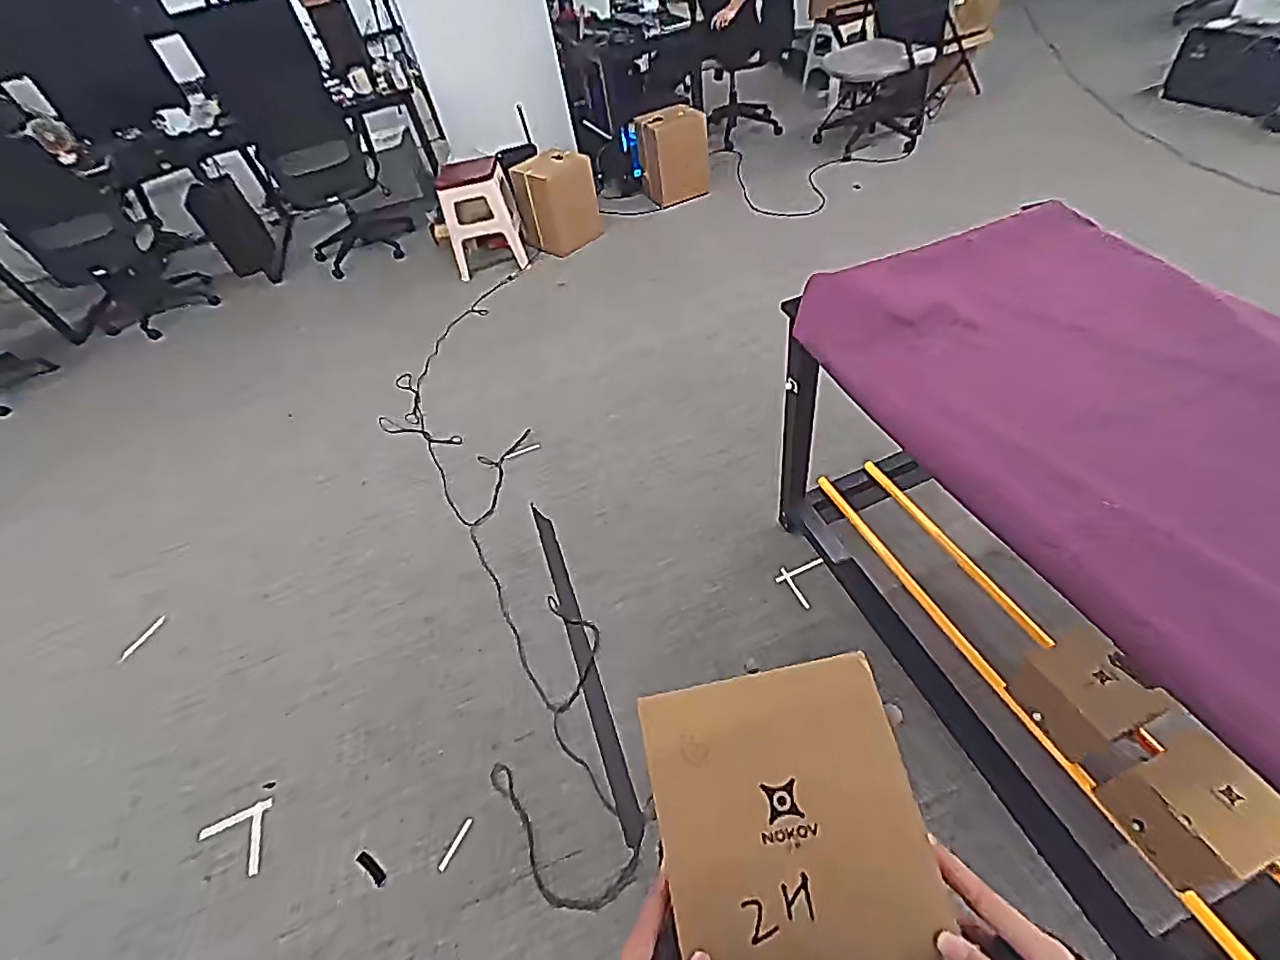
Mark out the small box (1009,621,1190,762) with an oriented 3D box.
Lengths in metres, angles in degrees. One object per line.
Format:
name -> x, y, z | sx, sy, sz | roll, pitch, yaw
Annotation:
small box -> 0.857, 0.405, 1.033 | 0.179, 0.176, 0.168 | -24, 48, -6

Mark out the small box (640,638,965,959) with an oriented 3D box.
small box -> 0.105, 0.235, 0.418 | 0.168, 0.176, 0.179 | -14, 66, 6

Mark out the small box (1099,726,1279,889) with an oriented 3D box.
small box -> 0.928, 0.543, 0.895 | 0.179, 0.176, 0.168 | -23, 48, -6
